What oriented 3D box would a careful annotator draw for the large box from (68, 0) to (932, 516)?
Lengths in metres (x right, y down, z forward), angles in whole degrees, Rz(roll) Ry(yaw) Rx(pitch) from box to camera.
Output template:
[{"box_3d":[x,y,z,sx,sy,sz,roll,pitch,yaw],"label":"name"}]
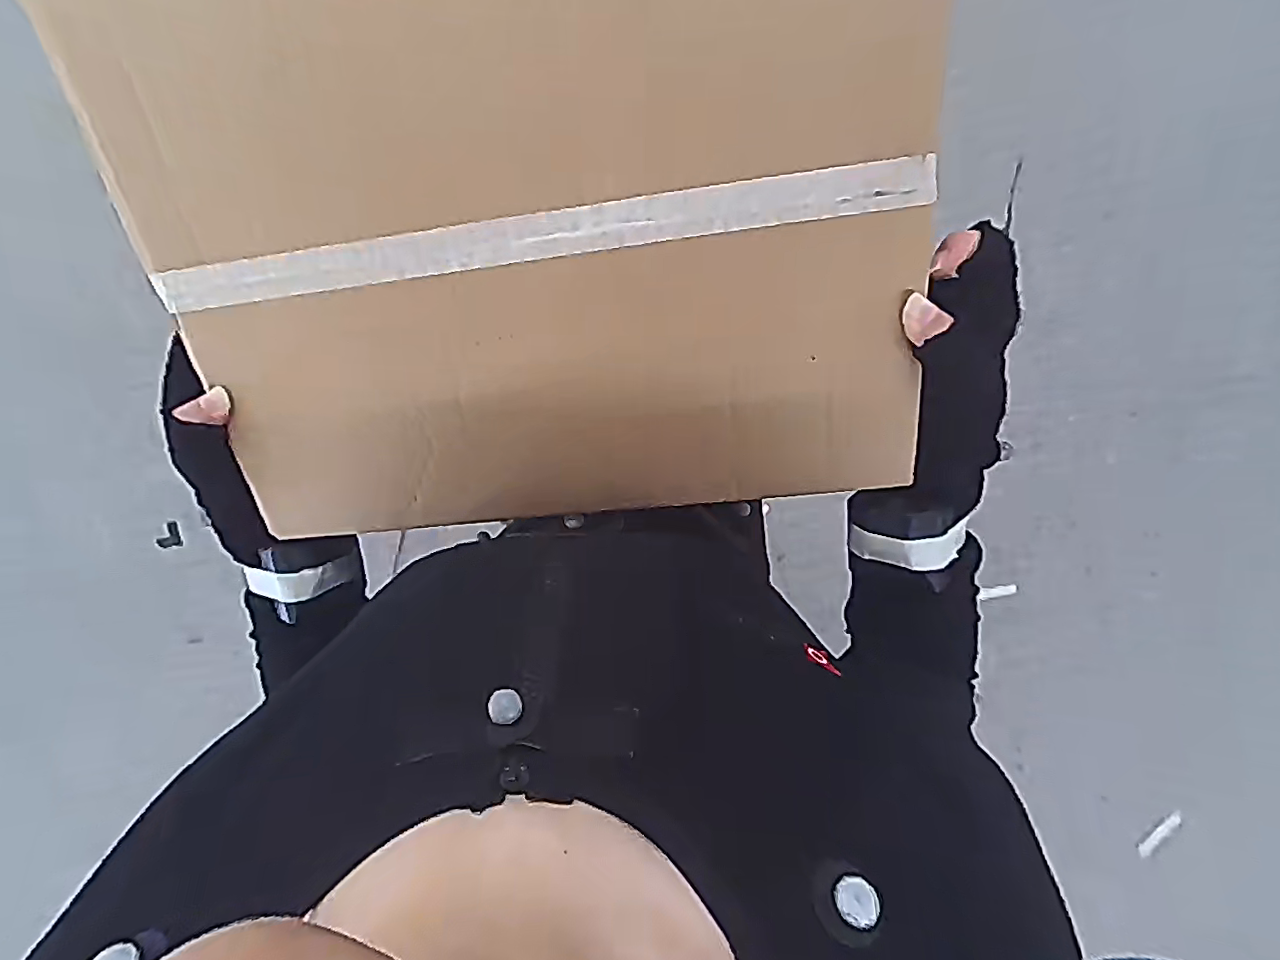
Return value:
[{"box_3d":[-0.052,-0.194,0.419,0.408,0.320,0.320,-6,114,6],"label":"large box"}]
